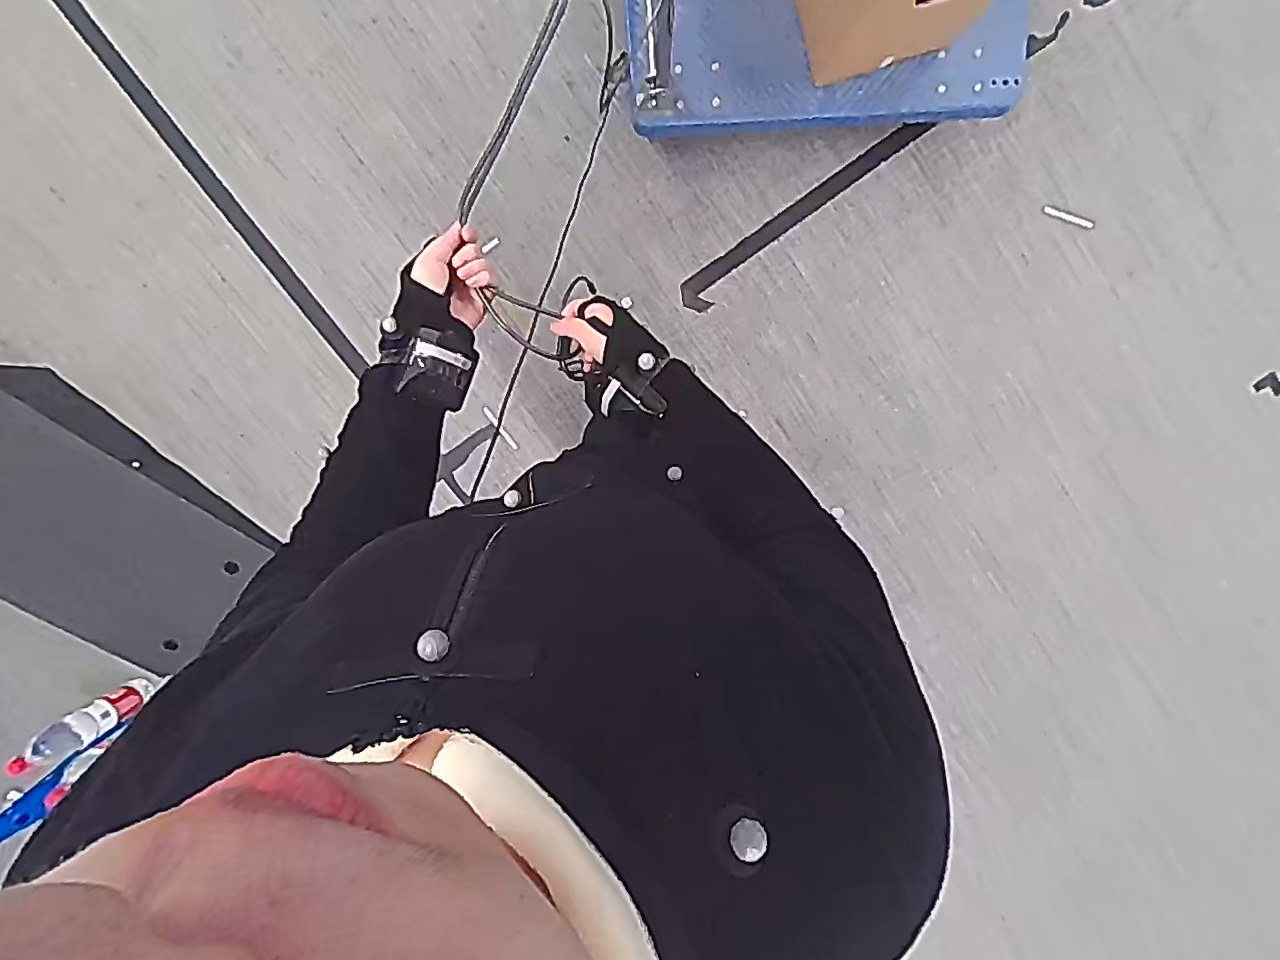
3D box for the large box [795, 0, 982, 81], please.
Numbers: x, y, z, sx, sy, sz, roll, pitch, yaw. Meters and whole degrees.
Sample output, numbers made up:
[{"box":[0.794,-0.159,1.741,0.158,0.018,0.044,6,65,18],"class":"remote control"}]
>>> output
[{"box":[0.469,-1.073,1.001,0.320,0.320,0.408,-18,100,2],"class":"large box"}]
